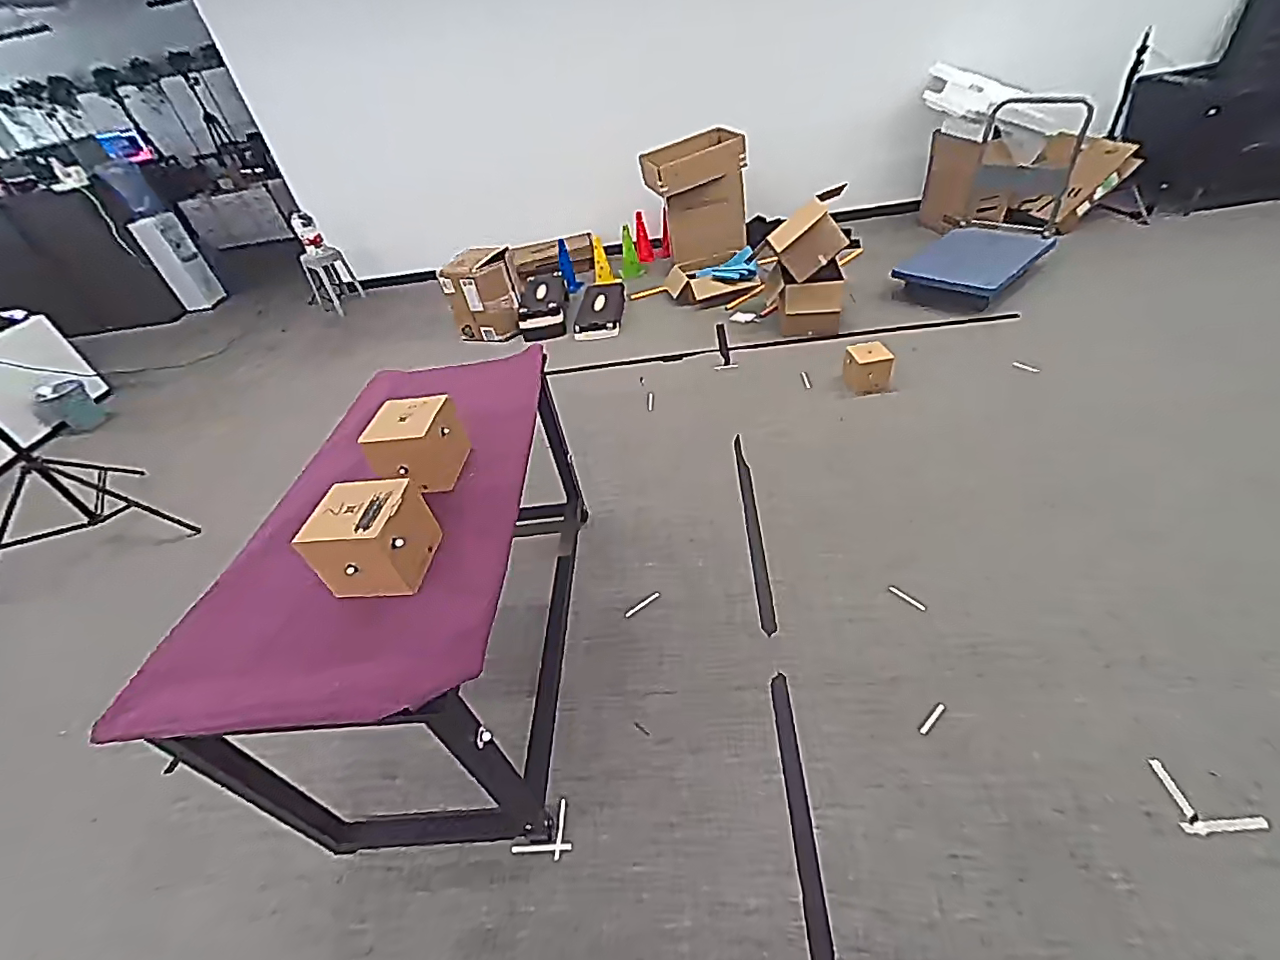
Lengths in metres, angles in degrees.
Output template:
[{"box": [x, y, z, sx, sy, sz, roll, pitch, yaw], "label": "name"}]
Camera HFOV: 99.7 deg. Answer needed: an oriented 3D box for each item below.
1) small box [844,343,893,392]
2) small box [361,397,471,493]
[{"box": [1.106, -0.540, 2.627, 0.168, 0.176, 0.179, -10, 40, 1], "label": "small box"}, {"box": [-0.536, -0.081, 1.324, 0.168, 0.176, 0.179, -4, 40, 8], "label": "small box"}]
